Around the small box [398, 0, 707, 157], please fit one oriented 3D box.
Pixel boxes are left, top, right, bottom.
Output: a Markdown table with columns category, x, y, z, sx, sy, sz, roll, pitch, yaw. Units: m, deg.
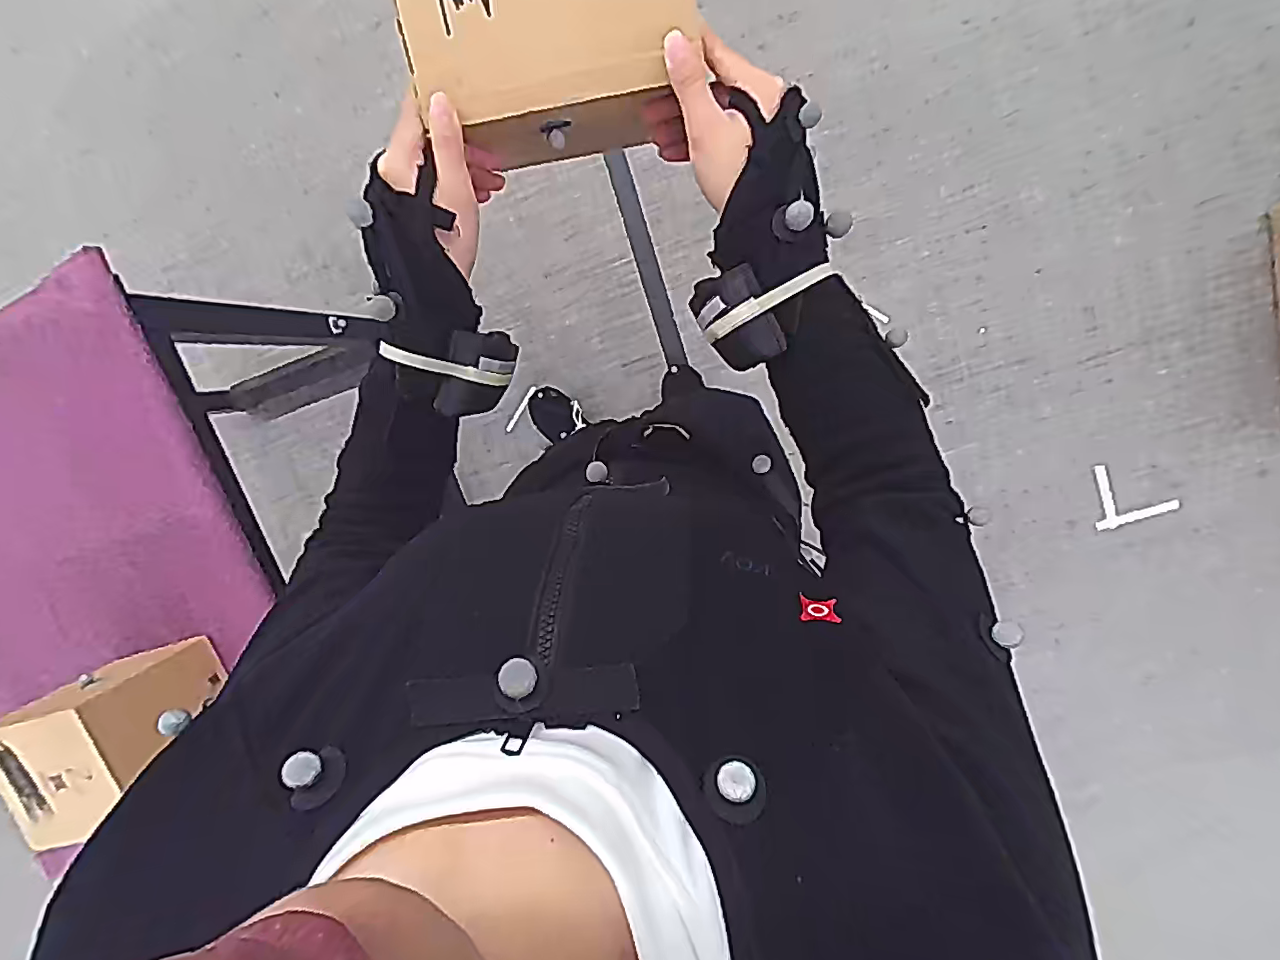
| category | x | y | z | sx | sy | sz | roll | pitch | yaw |
| --- | --- | --- | --- | --- | --- | --- | --- | --- | --- |
| small box | -0.054 | -0.338 | 0.368 | 0.179 | 0.176 | 0.168 | -8 | 112 | 4 |

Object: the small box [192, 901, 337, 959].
| category | x | y | z | sx | sy | sz | roll | pitch | yaw |
| --- | --- | --- | --- | --- | --- | --- | --- | --- | --- |
| small box | -0.577 | 0.767 | 0.790 | 0.179 | 0.176 | 0.168 | -25 | 98 | 11 |
